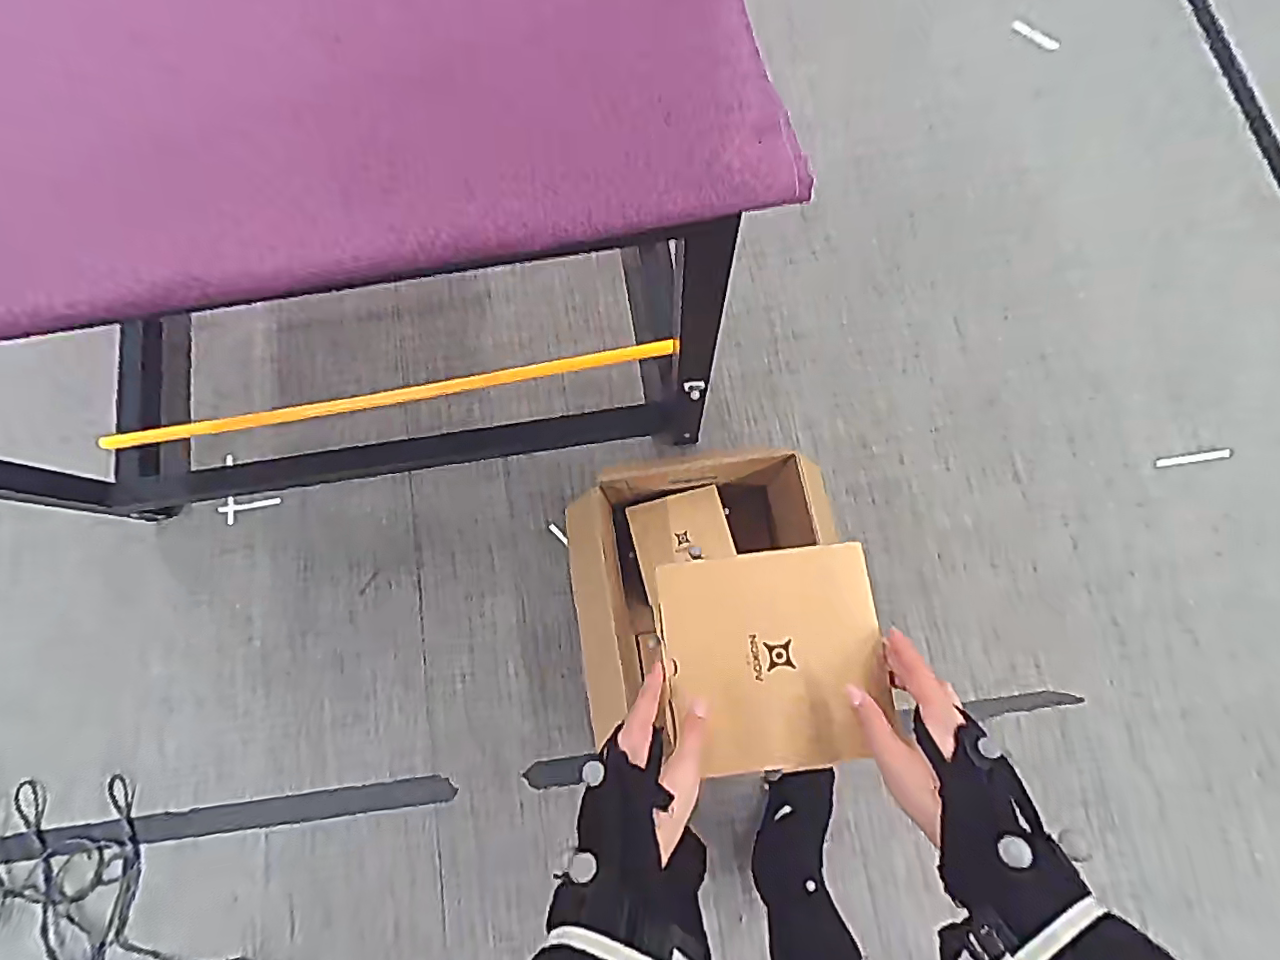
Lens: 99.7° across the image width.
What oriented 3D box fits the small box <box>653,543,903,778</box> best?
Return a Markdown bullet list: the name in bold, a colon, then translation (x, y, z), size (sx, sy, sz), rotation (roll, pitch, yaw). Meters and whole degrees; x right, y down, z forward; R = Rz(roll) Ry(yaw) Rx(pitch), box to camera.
- **small box**: translation (0.108, 0.154, 0.504), size (0.179, 0.176, 0.168), rotation (-7, 77, 0)
